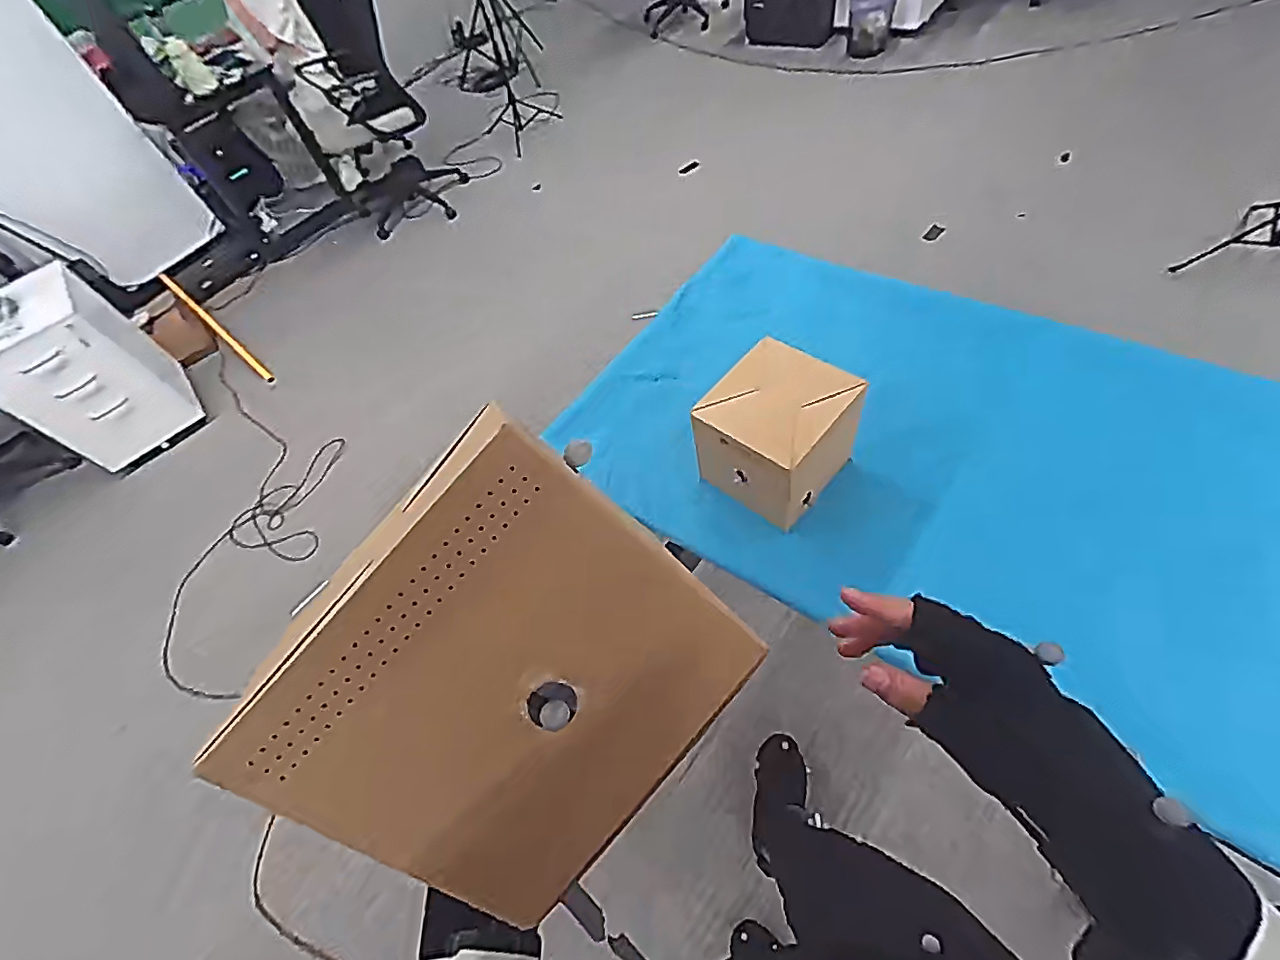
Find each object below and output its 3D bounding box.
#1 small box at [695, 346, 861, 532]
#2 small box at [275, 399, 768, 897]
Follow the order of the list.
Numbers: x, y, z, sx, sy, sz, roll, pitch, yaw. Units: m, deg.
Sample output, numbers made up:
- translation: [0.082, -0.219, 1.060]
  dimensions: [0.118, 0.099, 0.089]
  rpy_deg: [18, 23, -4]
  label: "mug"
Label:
- translation: [0.197, -0.063, 0.792]
  dimensions: [0.168, 0.176, 0.179]
  rpy_deg: [34, 70, 29]
  label: "small box"
- translation: [-0.070, 0.074, 0.314]
  dimensions: [0.179, 0.176, 0.168]
  rpy_deg: [-49, 20, -2]
  label: "small box"
